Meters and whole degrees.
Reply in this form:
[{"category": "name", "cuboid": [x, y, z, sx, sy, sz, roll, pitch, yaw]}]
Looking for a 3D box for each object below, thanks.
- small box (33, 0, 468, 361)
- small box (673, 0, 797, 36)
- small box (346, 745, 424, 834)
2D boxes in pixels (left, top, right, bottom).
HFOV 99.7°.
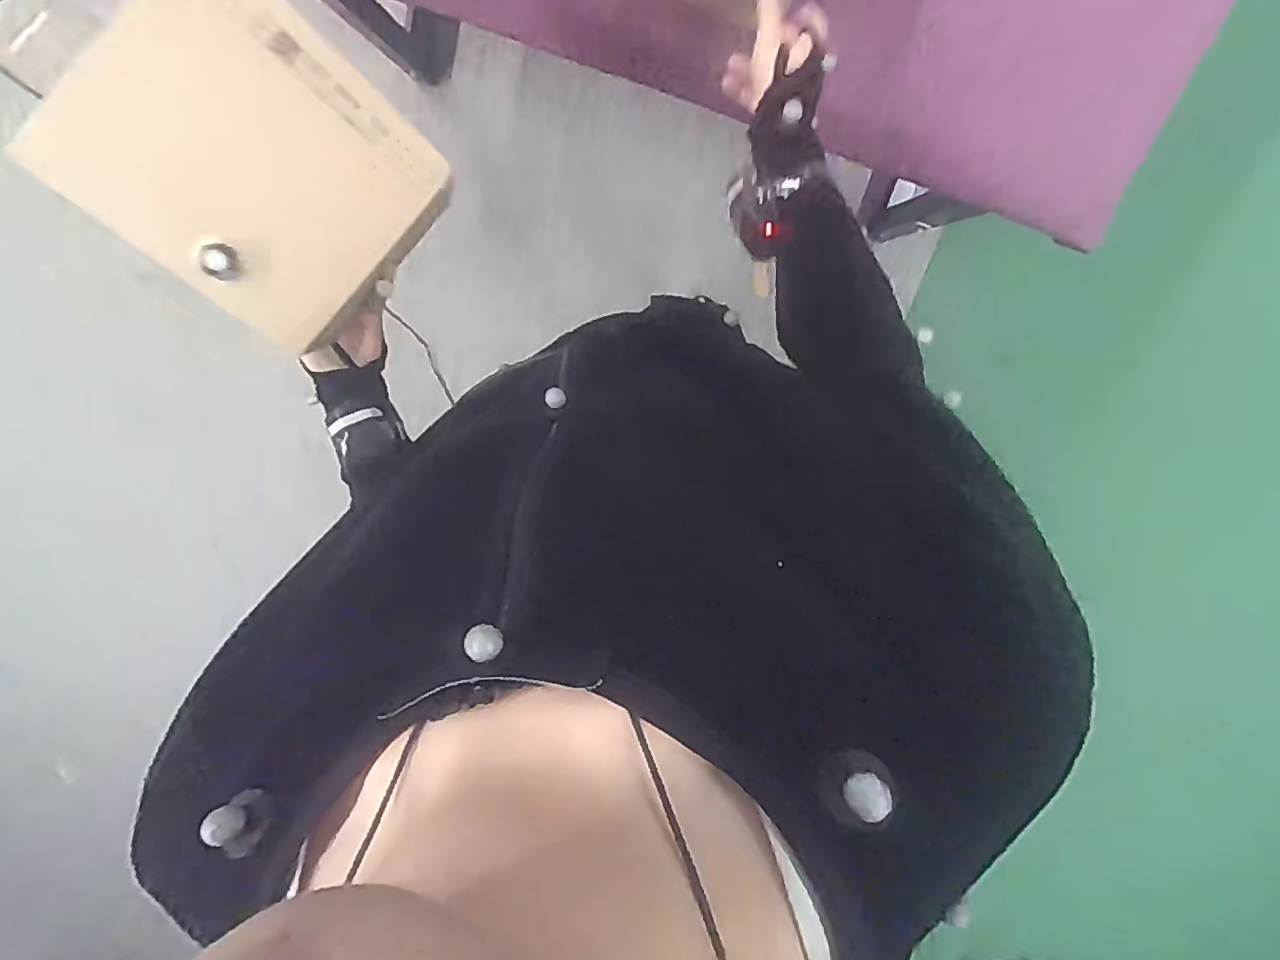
[{"category": "small box", "cuboid": [-0.249, -0.215, 0.401, 0.168, 0.179, 0.176, 41, 89, -28]}, {"category": "small box", "cuboid": [0.098, -0.565, 0.501, 0.179, 0.176, 0.168, 19, 107, -4]}, {"category": "small box", "cuboid": [-0.849, 1.031, 1.814, 0.168, 0.176, 0.179, 20, 108, -3]}]
